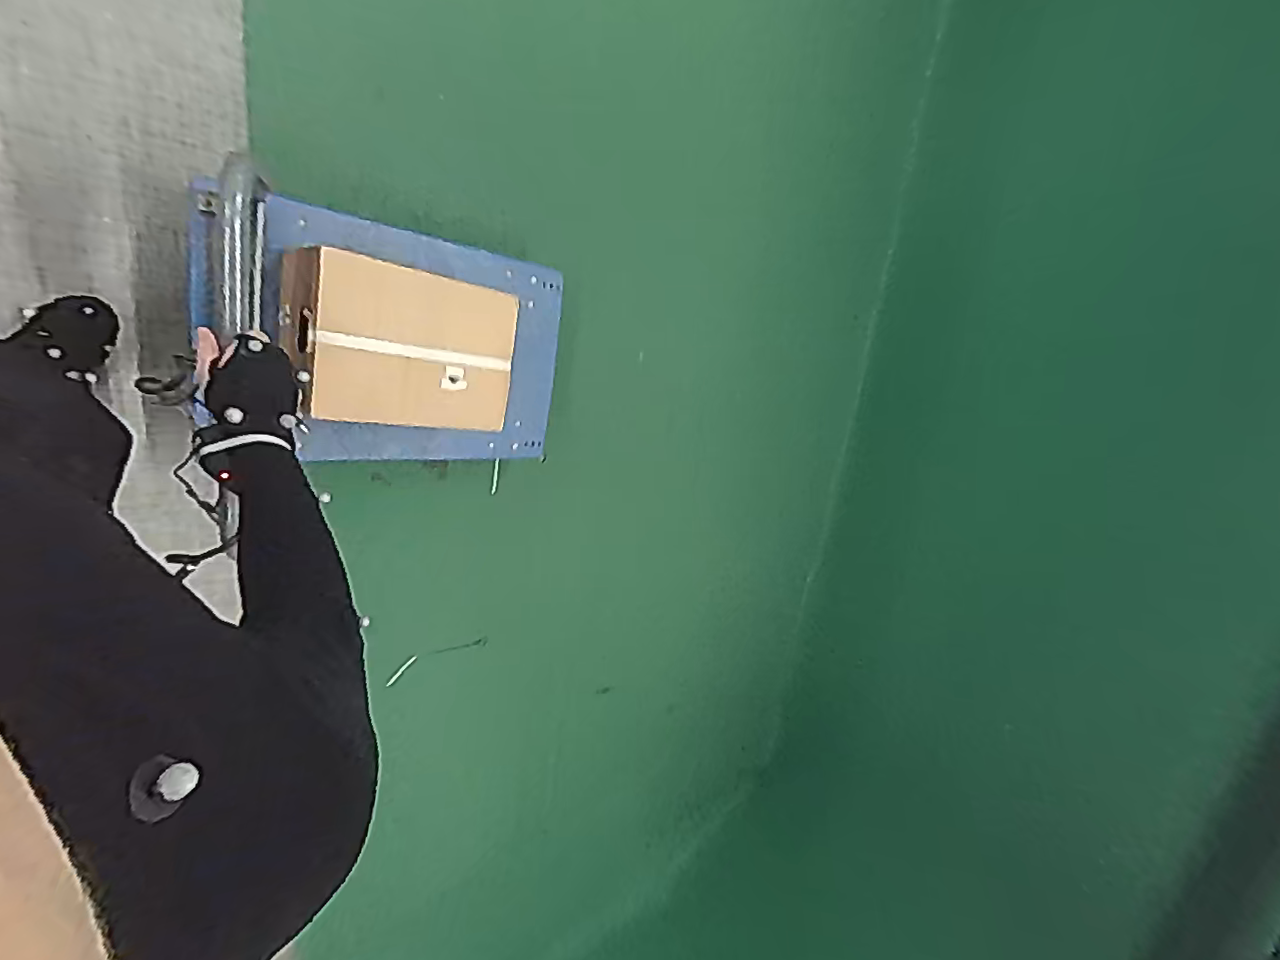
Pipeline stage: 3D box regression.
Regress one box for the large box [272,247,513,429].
[{"bbox_3d":[-0.556,-0.305,1.212,0.408,0.320,0.320,0,107,-45],"label":"large box"}]
